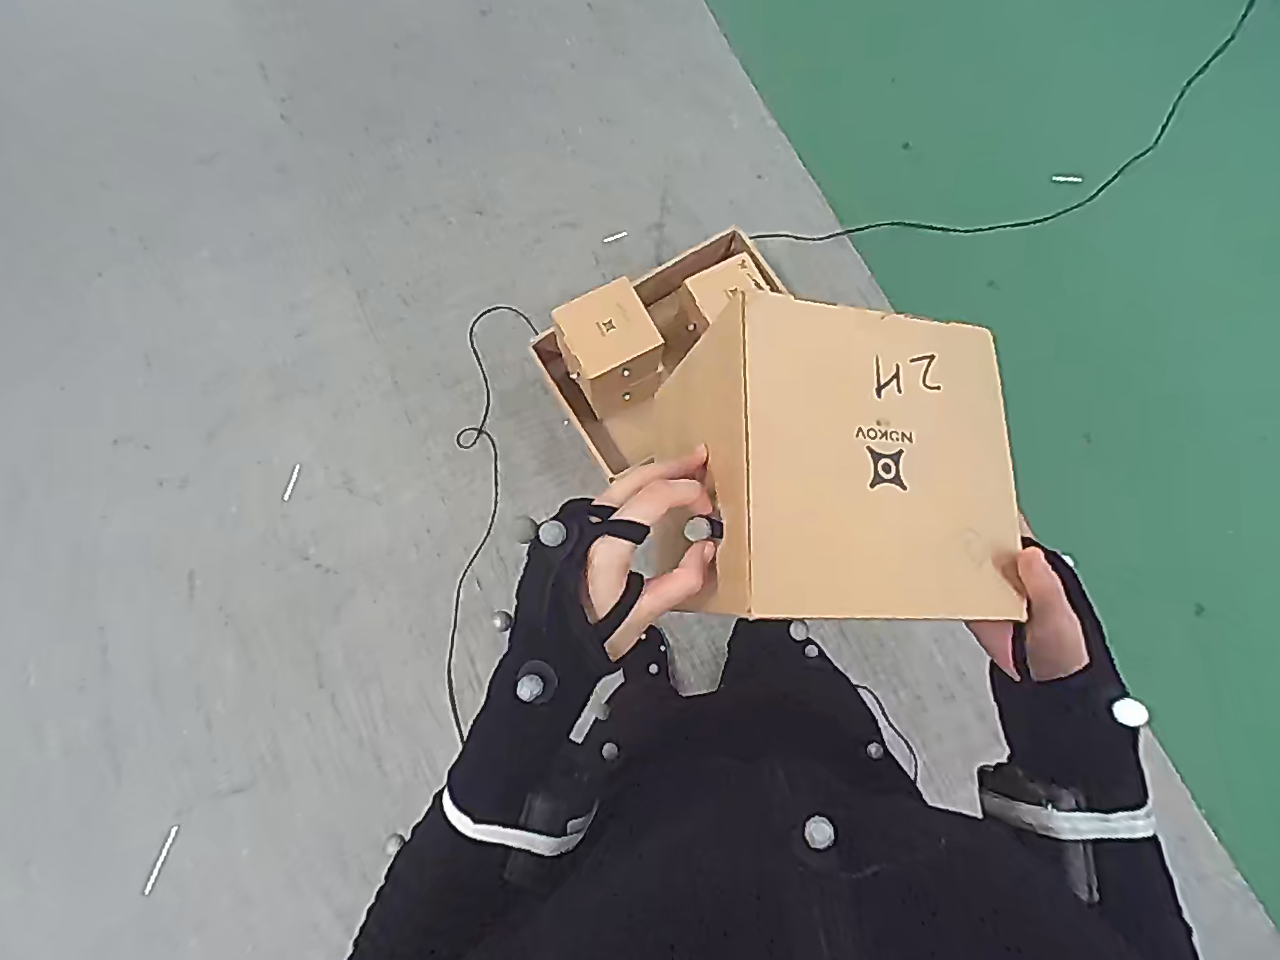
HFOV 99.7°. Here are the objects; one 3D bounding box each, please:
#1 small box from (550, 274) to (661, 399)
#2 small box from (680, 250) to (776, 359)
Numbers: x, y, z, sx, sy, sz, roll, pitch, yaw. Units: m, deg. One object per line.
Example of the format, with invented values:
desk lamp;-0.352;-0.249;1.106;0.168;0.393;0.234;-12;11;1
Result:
small box;-0.072;-0.298;1.159;0.179;0.176;0.168;-27;83;-8
small box;0.211;-0.432;1.360;0.179;0.176;0.168;-27;82;-6
